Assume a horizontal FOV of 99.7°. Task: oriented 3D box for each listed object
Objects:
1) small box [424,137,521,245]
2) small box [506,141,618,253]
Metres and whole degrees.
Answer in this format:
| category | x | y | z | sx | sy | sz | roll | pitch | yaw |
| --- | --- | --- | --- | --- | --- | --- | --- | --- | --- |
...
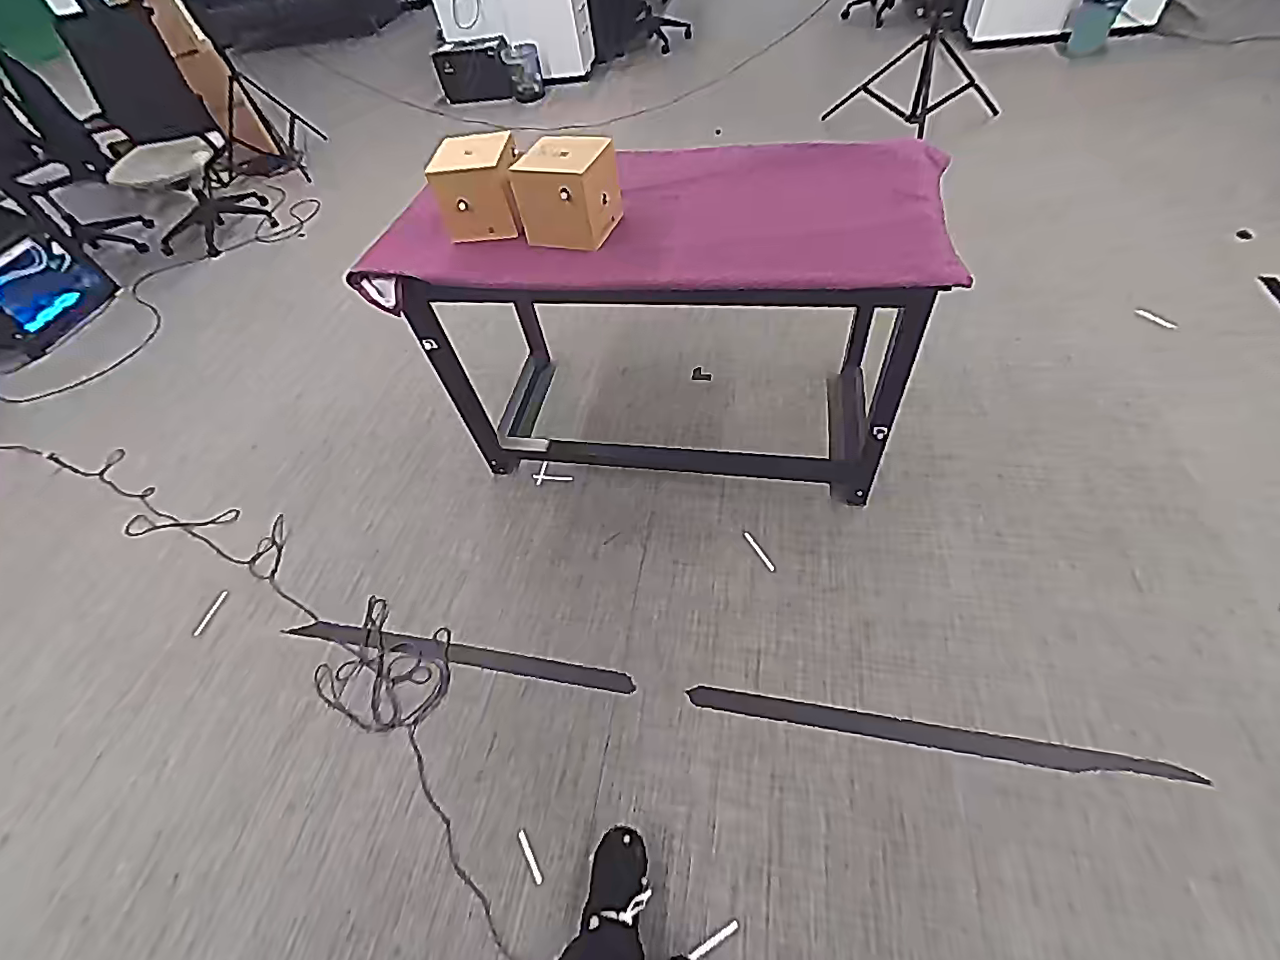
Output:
| category | x | y | z | sx | sy | sz | roll | pitch | yaw |
| --- | --- | --- | --- | --- | --- | --- | --- | --- | --- |
| small box | -0.378 | -0.676 | 1.279 | 0.168 | 0.176 | 0.179 | -2 | 53 | 7 |
| small box | -0.163 | -0.628 | 1.207 | 0.179 | 0.176 | 0.168 | 12 | 55 | 18 |
